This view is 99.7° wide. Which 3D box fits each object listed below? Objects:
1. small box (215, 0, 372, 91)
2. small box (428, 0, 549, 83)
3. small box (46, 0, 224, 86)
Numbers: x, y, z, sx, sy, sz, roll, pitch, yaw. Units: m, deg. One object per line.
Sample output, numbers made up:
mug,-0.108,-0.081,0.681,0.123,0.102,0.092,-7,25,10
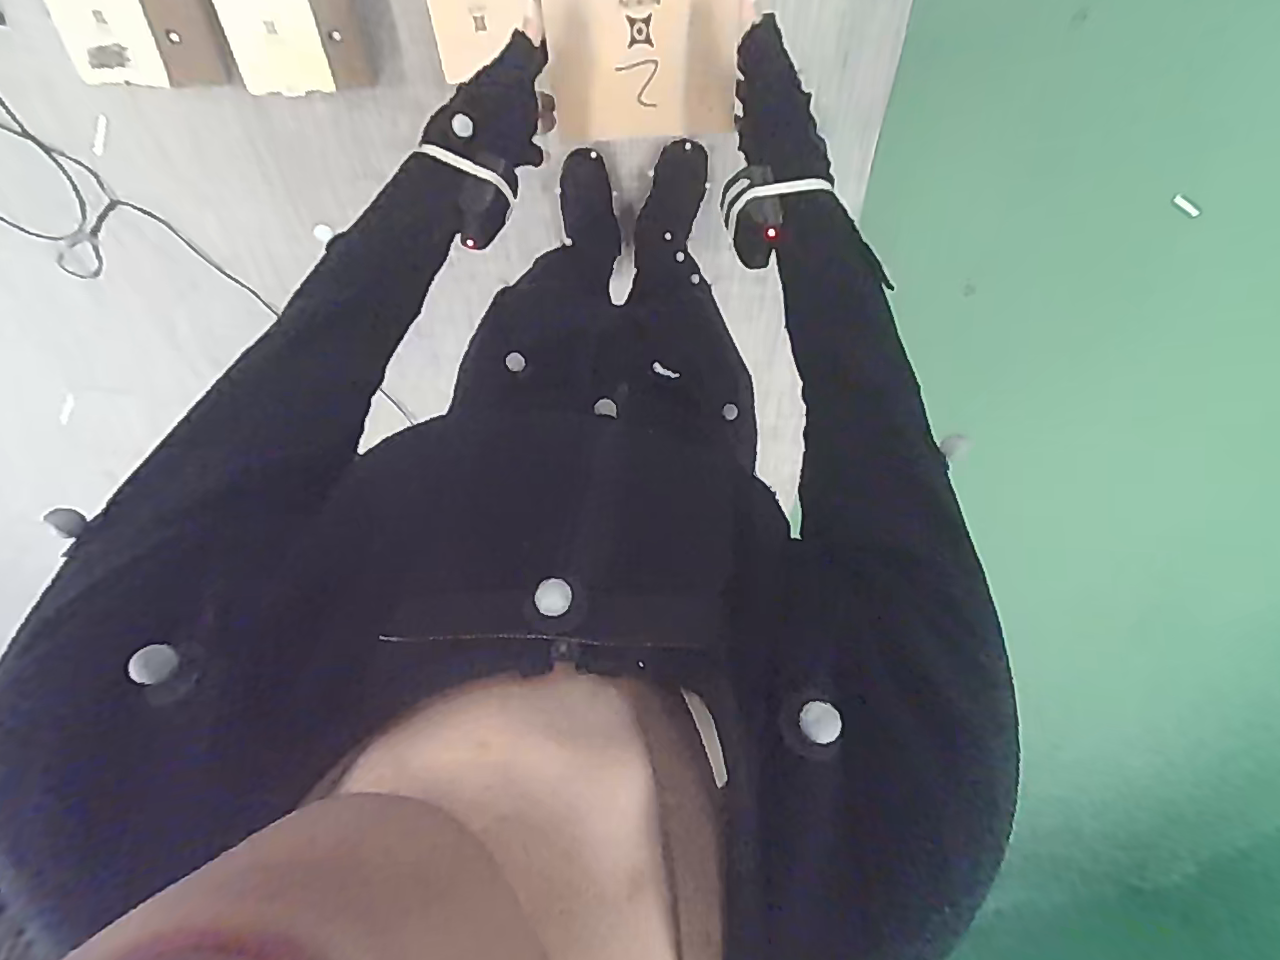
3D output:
small box,-0.624,-0.822,0.984,0.168,0.176,0.179,0,129,3
small box,-0.265,-0.826,0.963,0.168,0.176,0.179,-2,128,3
small box,-0.915,-0.835,0.985,0.168,0.176,0.179,4,128,0
